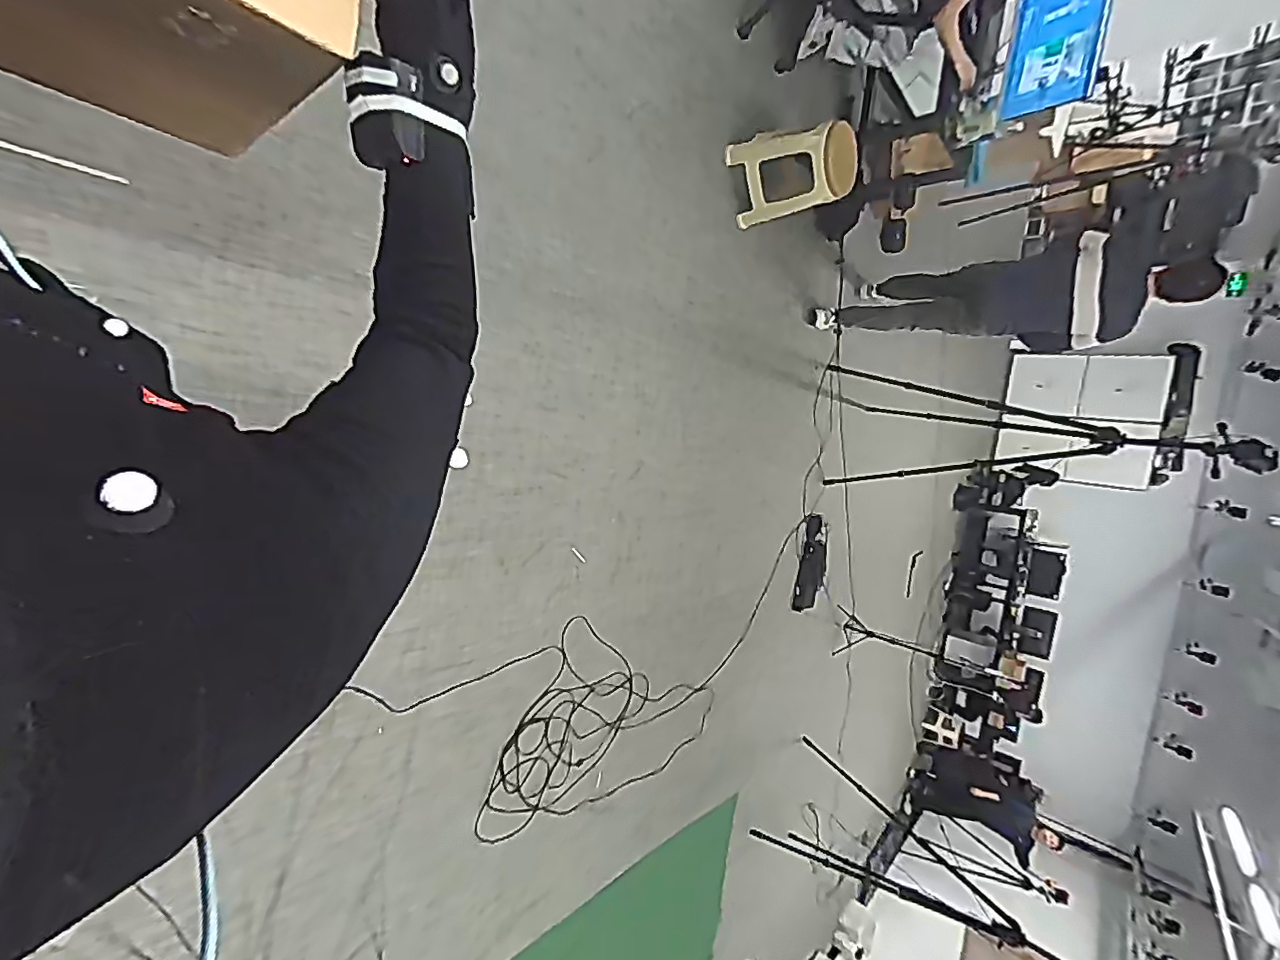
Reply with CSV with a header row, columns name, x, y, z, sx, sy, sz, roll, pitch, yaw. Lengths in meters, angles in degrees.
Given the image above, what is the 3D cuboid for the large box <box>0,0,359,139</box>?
name,x,y,z,sx,sy,sz,roll,pitch,yaw
large box,-0.418,-0.473,0.303,0.408,0.320,0.320,1,101,-48
